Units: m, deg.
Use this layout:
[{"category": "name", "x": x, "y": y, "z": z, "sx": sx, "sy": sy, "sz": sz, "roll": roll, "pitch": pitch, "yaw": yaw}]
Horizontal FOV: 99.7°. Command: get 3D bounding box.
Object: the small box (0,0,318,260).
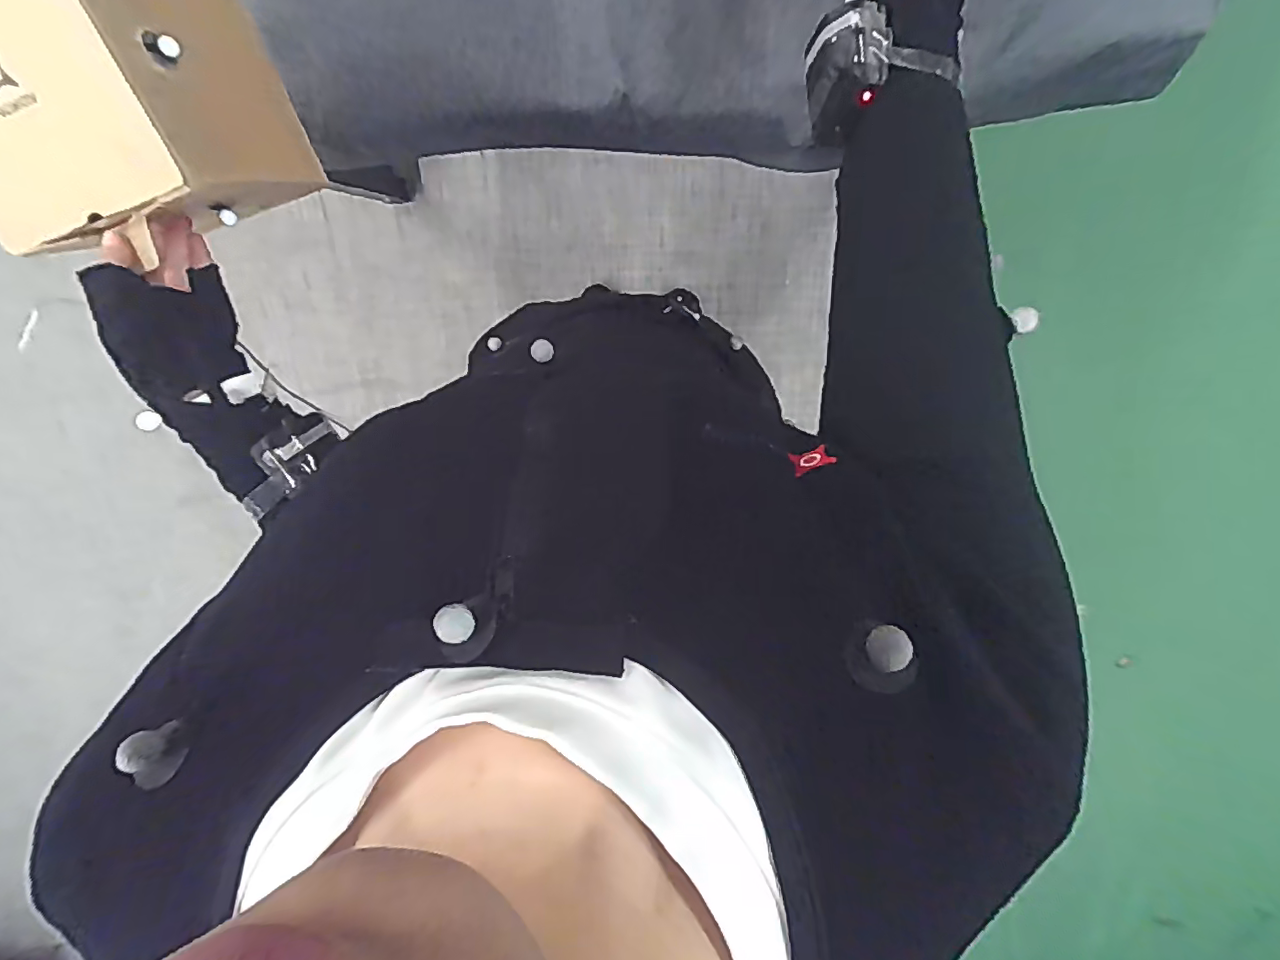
[{"category": "small box", "x": -0.391, "y": -0.286, "z": 0.403, "sx": 0.168, "sy": 0.176, "sz": 0.179, "roll": -13, "pitch": 116, "yaw": 11}]
